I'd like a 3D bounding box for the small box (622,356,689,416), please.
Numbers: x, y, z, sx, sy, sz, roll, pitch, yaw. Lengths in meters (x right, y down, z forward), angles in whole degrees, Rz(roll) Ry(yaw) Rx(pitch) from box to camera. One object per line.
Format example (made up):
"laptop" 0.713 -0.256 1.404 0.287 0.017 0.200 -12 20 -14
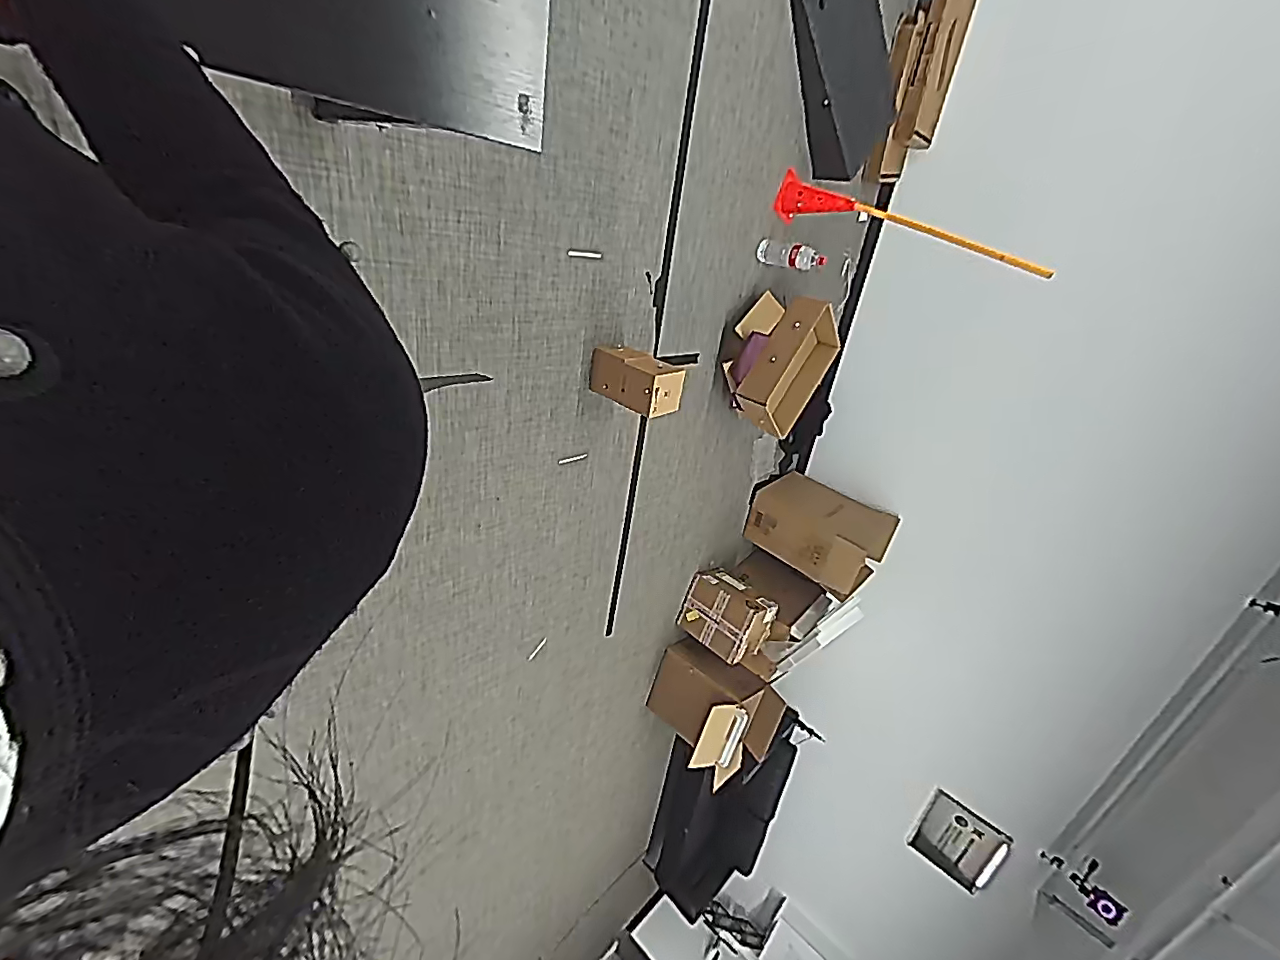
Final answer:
"small box" 0.057 -0.359 2.036 0.179 0.176 0.168 -22 130 -44

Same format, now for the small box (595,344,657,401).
"small box" -0.060 -0.427 2.129 0.168 0.176 0.179 -20 128 -44
